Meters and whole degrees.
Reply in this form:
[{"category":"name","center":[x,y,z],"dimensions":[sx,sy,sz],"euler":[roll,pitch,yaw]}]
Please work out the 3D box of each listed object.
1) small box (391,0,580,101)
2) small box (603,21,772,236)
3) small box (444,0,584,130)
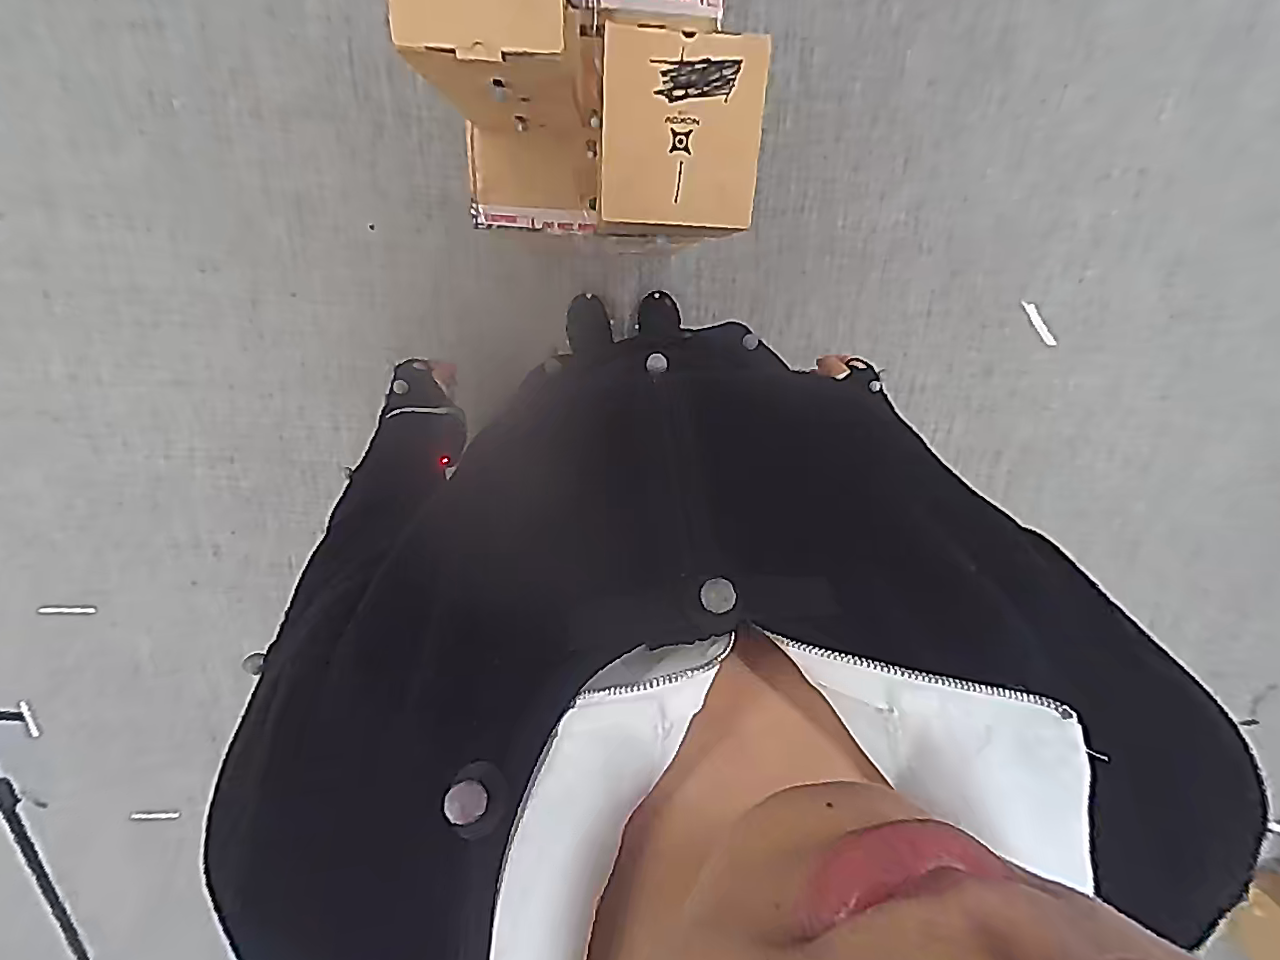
[{"category":"small box","center":[-0.152,-0.522,0.568],"dimensions":[0.168,0.176,0.179],"euler":[1,112,-2]},{"category":"small box","center":[0.042,-0.389,0.632],"dimensions":[0.168,0.176,0.179],"euler":[2,112,-3]},{"category":"small box","center":[-0.163,-0.590,0.718],"dimensions":[0.168,0.176,0.179],"euler":[0,111,-1]}]
